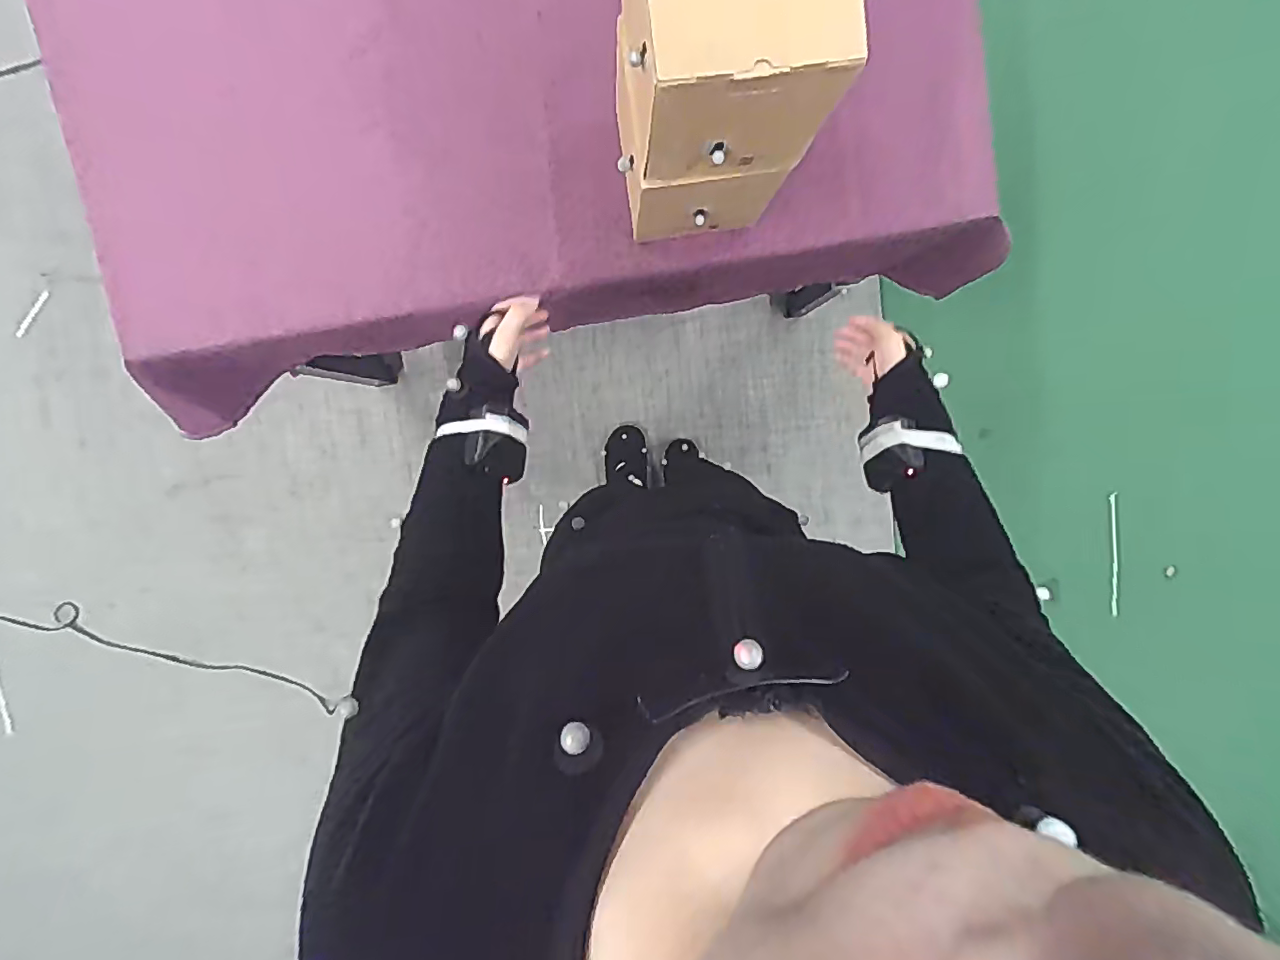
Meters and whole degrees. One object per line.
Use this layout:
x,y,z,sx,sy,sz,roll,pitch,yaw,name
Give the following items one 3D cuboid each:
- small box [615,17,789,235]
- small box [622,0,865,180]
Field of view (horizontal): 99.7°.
0.064,-0.409,0.645,0.168,0.176,0.179,-9,96,-2,small box
0.077,-0.401,0.482,0.168,0.176,0.179,-9,97,-2,small box
